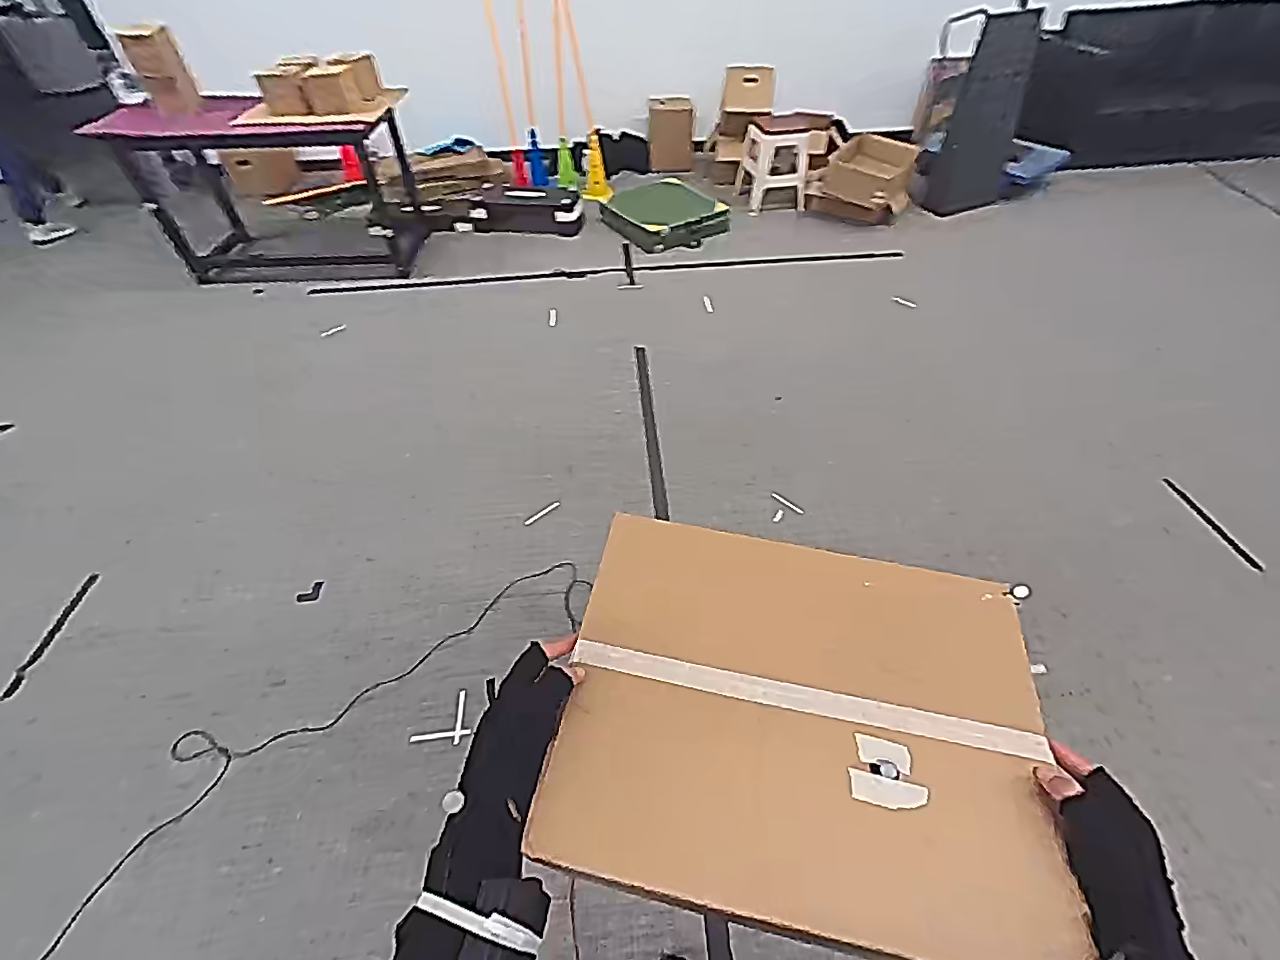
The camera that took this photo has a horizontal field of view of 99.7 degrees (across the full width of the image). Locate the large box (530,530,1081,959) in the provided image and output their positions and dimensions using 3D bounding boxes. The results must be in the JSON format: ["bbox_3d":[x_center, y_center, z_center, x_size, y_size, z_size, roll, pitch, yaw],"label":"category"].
[{"bbox_3d":[0.132,0.292,0.592,0.408,0.320,0.320,10,53,6],"label":"large box"}]
